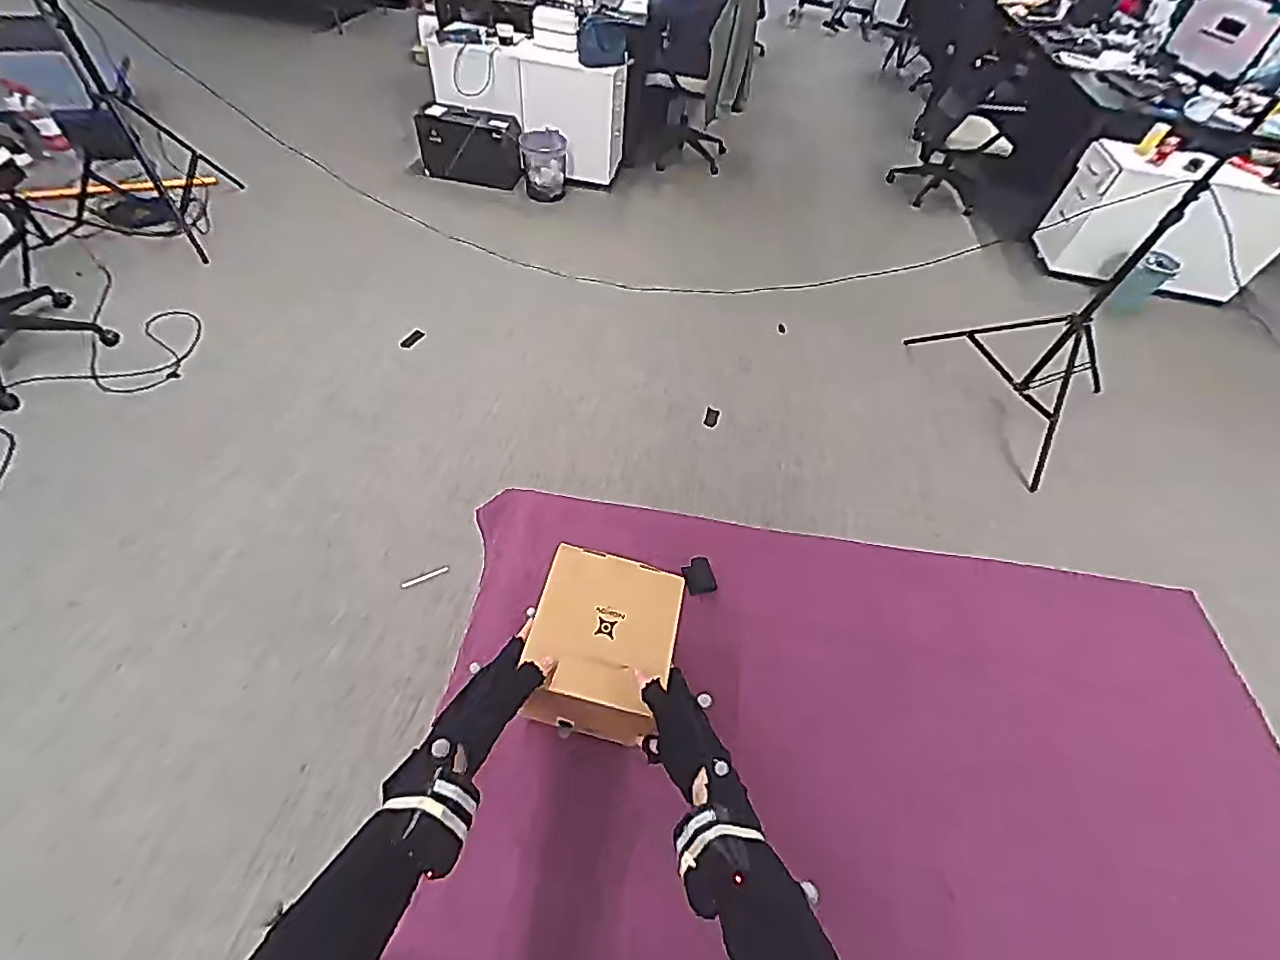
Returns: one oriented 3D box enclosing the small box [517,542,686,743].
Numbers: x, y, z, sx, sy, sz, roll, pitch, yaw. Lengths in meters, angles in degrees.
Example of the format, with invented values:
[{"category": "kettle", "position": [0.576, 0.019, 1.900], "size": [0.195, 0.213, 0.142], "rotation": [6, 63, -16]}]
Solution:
[{"category": "small box", "position": [-0.052, 0.210, 0.683], "size": [0.168, 0.176, 0.179], "rotation": [15, 54, -2]}]
